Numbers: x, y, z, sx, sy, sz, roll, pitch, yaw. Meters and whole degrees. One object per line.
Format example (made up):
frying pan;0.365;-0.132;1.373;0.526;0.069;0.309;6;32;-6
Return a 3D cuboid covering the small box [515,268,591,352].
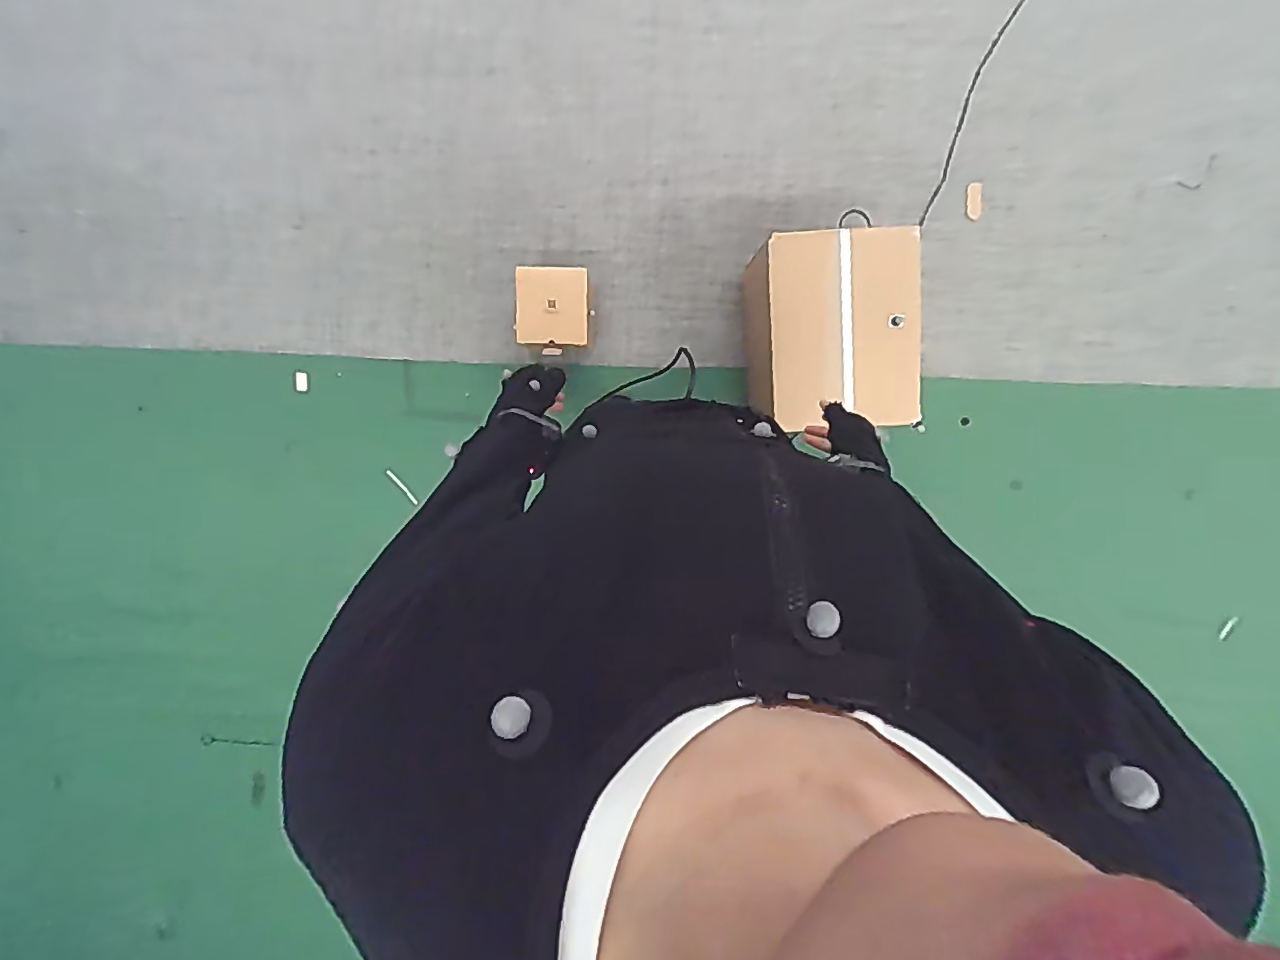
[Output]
small box;-0.211;-0.413;1.334;0.168;0.176;0.179;1;99;-1
